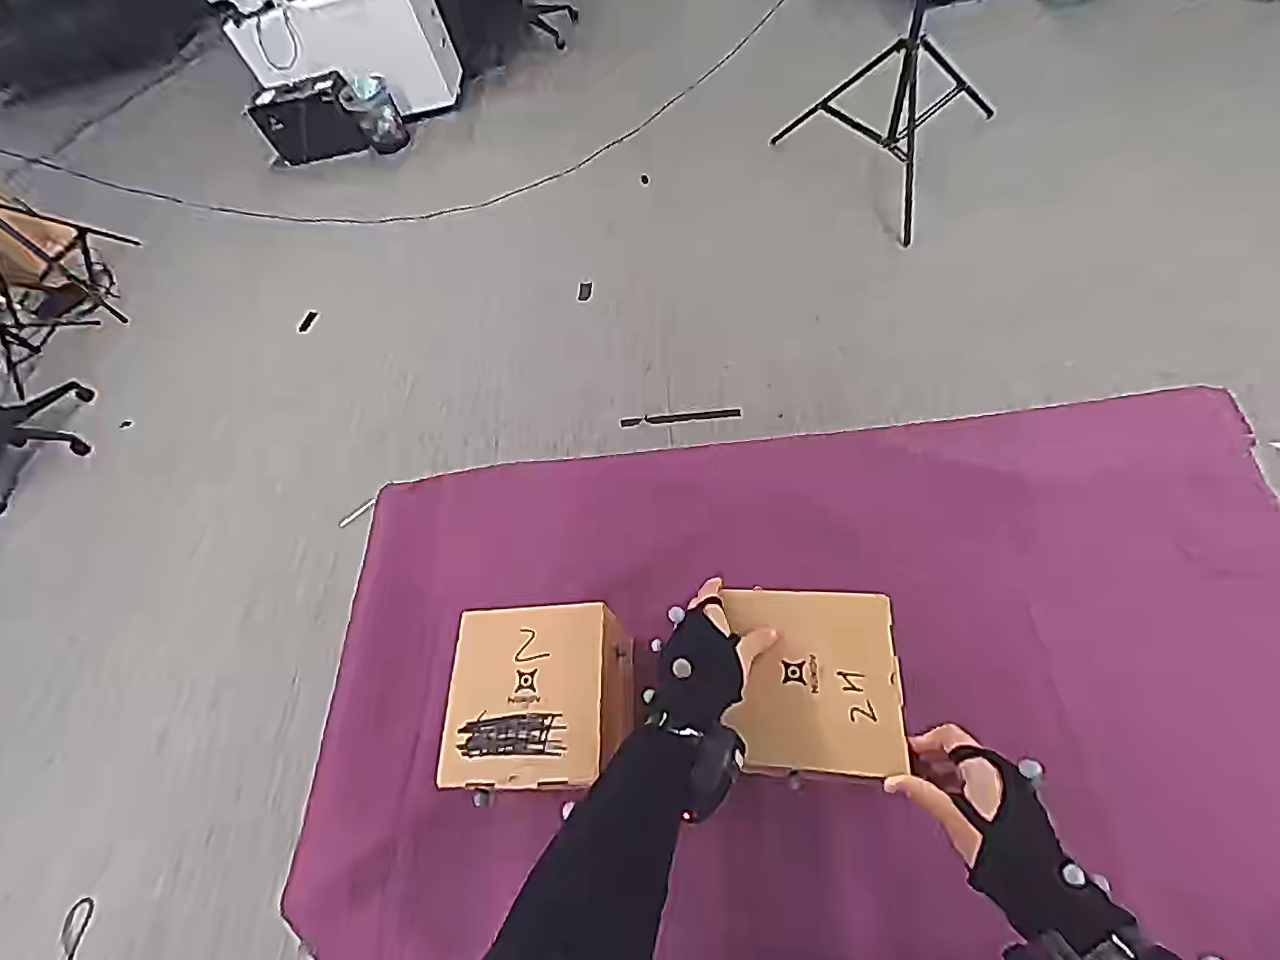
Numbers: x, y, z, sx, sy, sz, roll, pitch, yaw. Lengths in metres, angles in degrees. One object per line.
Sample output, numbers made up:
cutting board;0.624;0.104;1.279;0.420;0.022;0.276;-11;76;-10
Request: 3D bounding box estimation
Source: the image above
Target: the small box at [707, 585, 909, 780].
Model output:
small box;0.169;0.222;0.586;0.179;0.176;0.168;0;60;11
